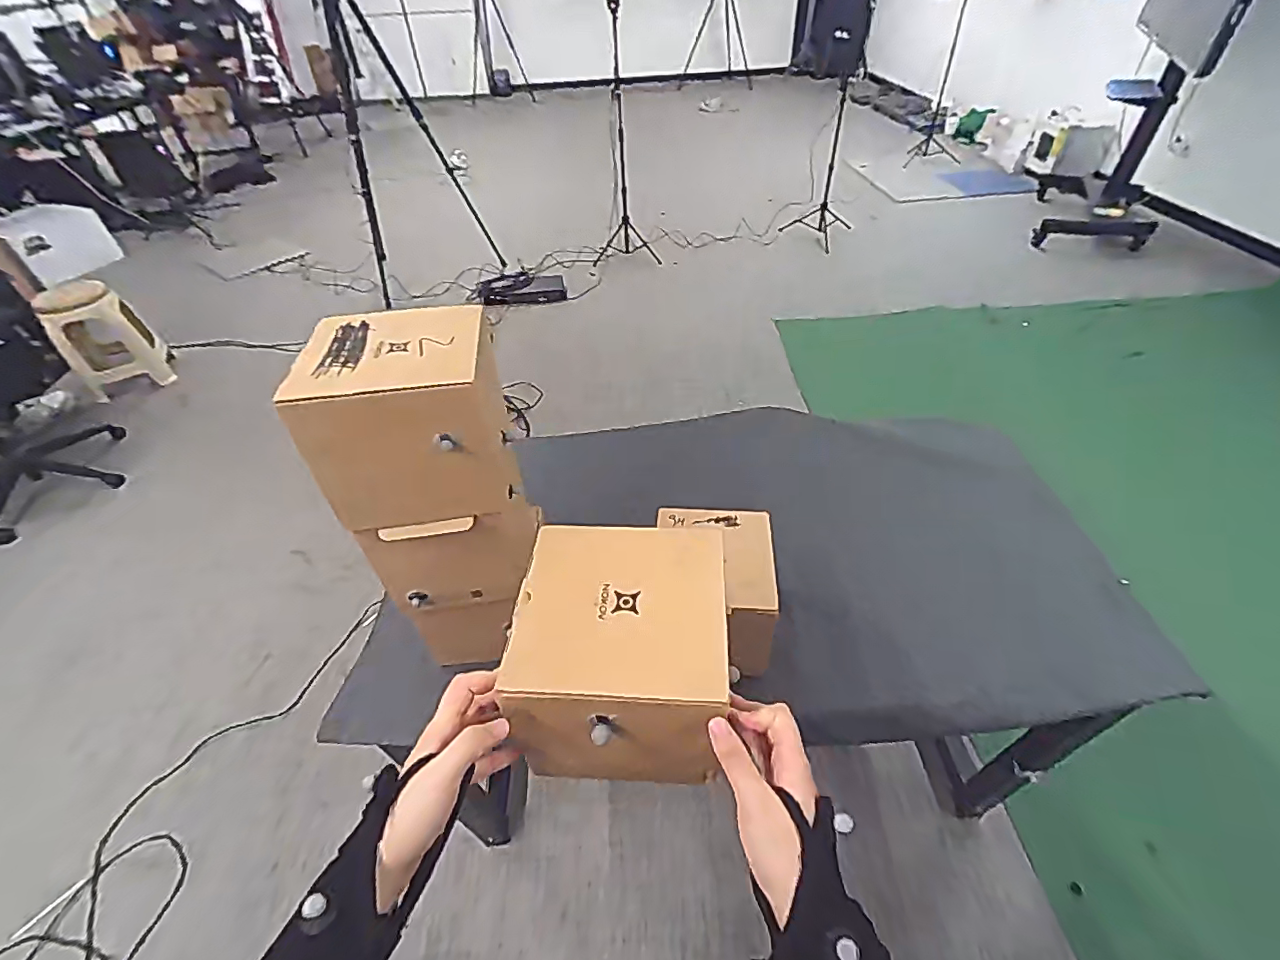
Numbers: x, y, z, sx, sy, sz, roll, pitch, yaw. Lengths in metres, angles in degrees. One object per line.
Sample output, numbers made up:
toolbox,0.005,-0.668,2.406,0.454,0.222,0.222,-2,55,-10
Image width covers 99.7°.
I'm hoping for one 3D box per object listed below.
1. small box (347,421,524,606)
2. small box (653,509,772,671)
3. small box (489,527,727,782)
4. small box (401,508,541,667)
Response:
small box,-0.249,0.049,0.708,0.168,0.176,0.179,-8,42,-5
small box,0.101,0.163,0.798,0.168,0.176,0.179,1,44,6
small box,-0.013,0.161,0.500,0.179,0.176,0.168,0,43,7
small box,-0.230,0.165,0.824,0.179,0.176,0.168,-6,43,-1
